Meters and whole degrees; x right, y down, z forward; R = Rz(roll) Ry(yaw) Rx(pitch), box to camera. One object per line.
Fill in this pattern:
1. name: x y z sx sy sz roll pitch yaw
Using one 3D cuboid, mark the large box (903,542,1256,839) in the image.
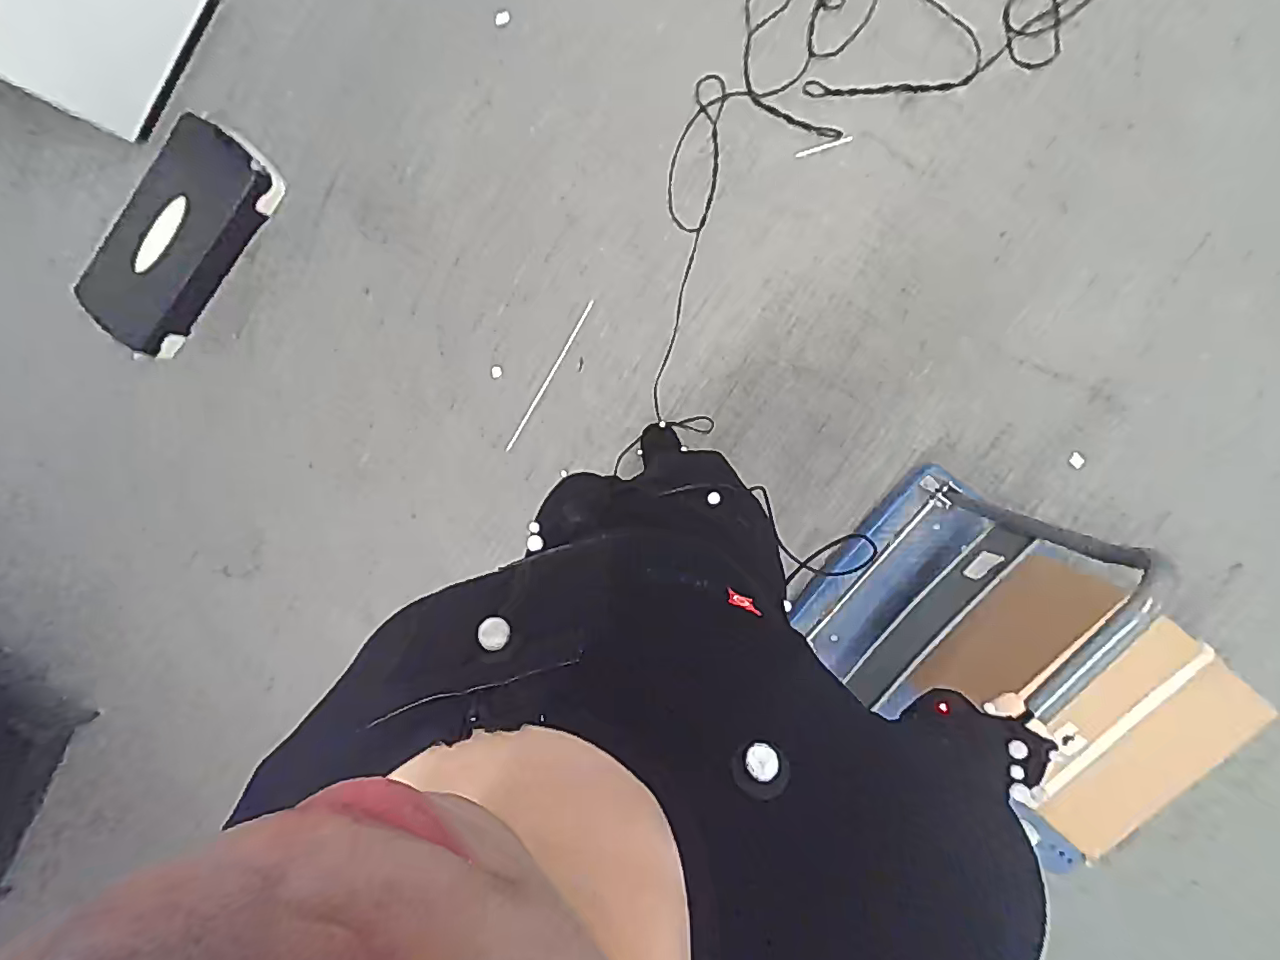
1. large box: 0.842 0.396 1.109 0.320 0.320 0.408 41 100 3
